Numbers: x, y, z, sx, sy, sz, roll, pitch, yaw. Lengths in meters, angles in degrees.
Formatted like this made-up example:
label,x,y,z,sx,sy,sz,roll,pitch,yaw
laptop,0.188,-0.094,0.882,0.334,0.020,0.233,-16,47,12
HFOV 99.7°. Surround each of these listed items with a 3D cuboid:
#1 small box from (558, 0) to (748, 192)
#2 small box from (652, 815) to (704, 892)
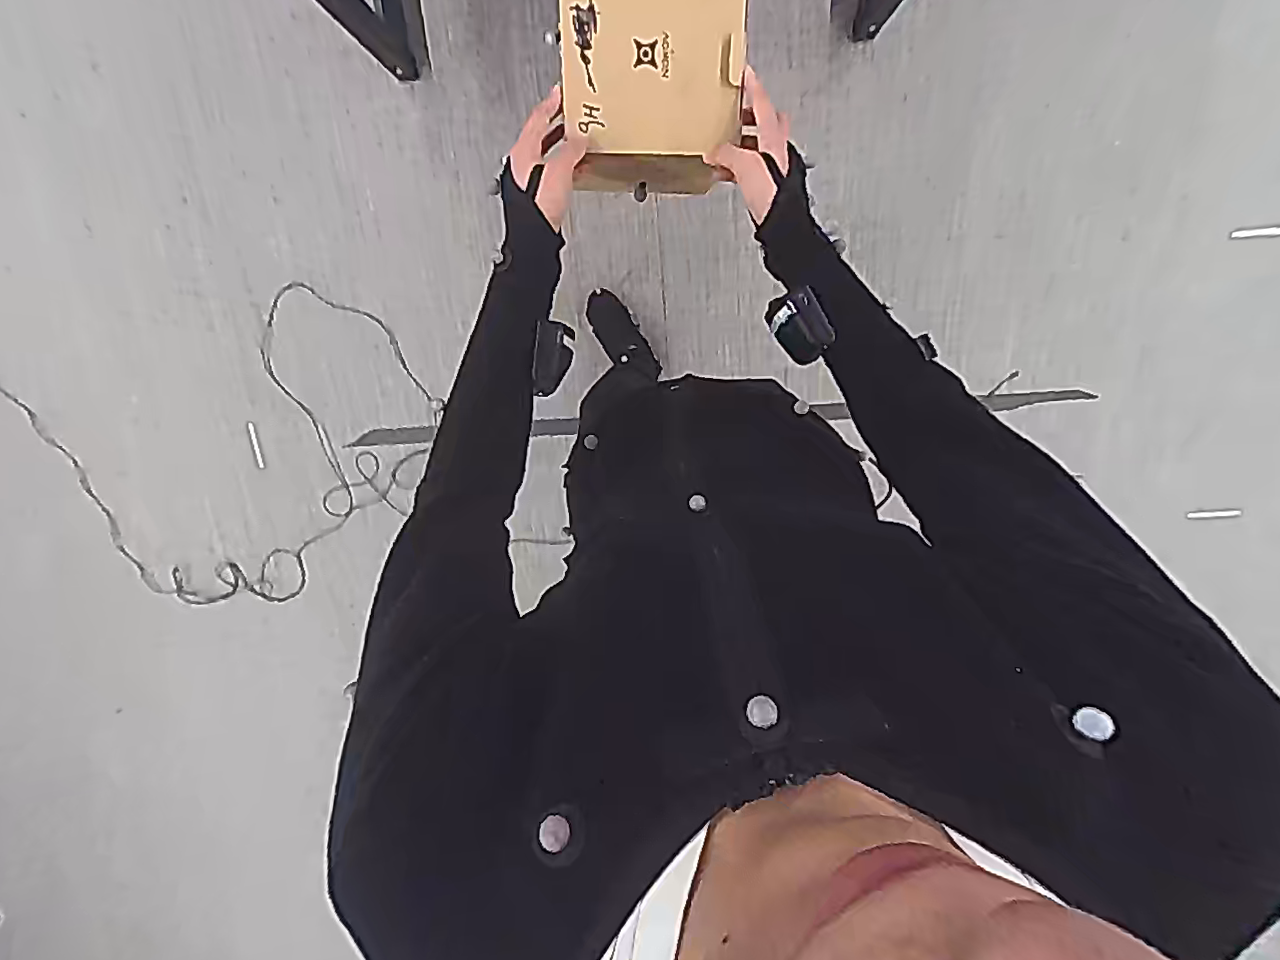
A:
label,x,y,z,sx,sy,sz,roll,pitch,yaw
small box,0.002,-0.418,0.578,0.179,0.176,0.168,-1,106,-7
small box,0.135,1.356,1.971,0.179,0.176,0.168,-3,106,2
